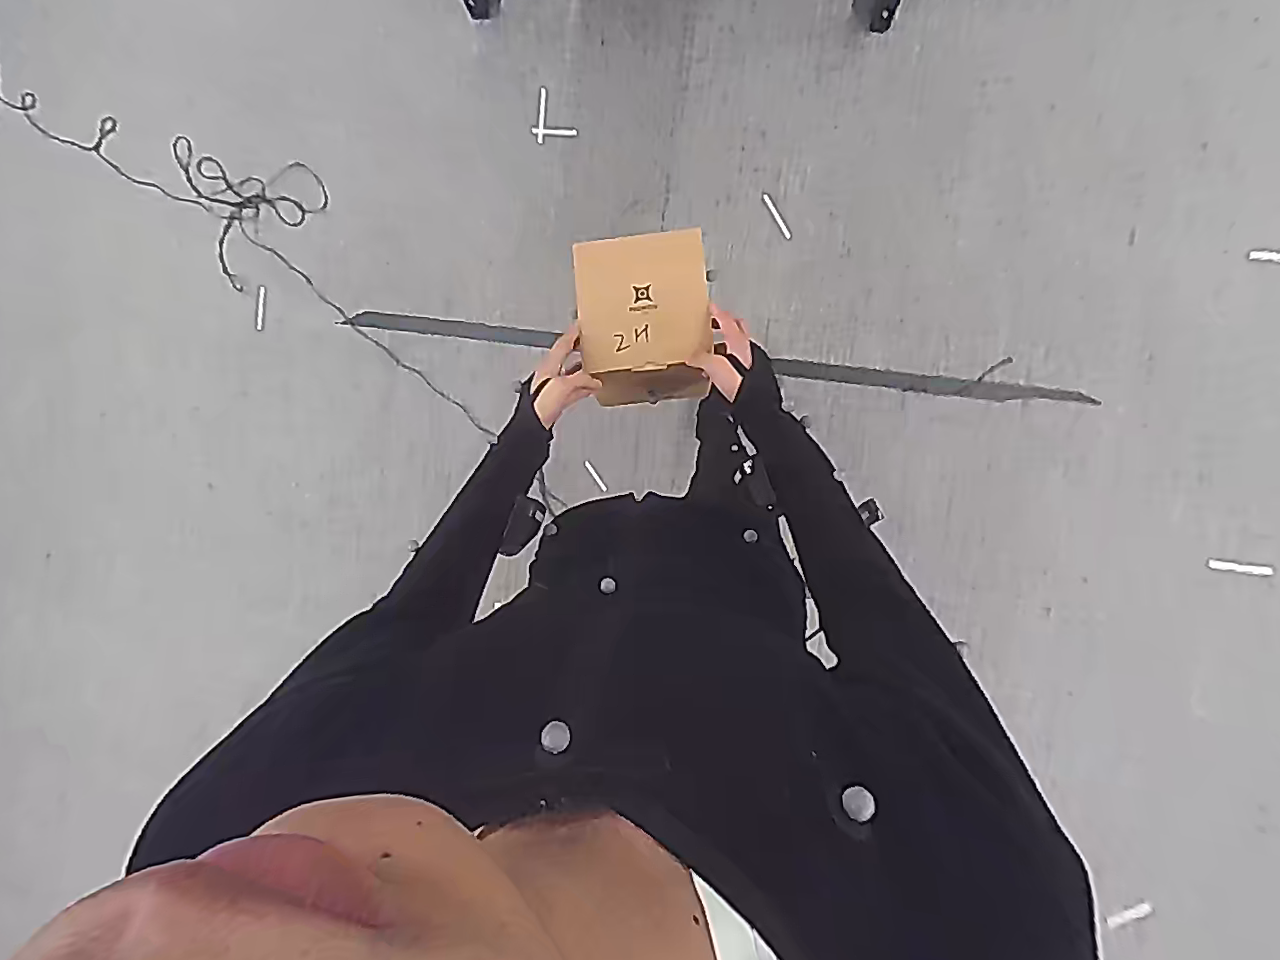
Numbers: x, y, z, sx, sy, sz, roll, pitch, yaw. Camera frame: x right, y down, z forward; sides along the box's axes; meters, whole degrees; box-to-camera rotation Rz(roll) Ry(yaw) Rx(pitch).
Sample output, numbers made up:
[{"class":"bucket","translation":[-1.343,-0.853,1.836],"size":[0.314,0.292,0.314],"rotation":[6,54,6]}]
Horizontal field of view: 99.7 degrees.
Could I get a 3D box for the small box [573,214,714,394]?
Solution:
[{"class":"small box","translation":[0.006,-0.230,0.741],"size":[0.168,0.176,0.179],"rotation":[-5,85,3]}]
